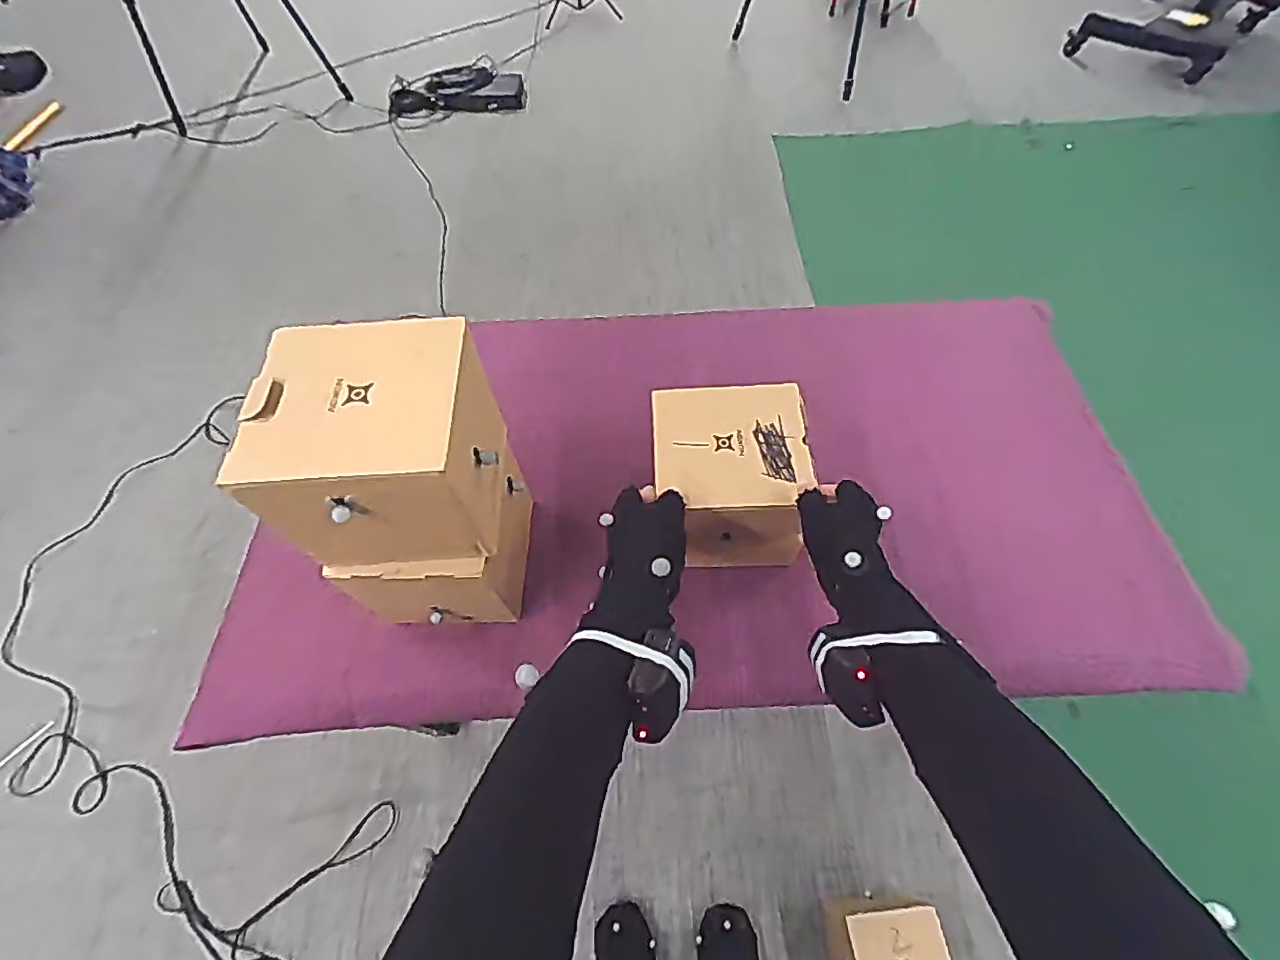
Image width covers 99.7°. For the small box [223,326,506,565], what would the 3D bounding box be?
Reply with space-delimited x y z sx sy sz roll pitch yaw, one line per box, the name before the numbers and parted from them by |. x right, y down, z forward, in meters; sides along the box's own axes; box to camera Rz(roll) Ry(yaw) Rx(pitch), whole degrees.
small box | -0.234 -0.026 0.520 0.179 0.176 0.168 -3 60 -1

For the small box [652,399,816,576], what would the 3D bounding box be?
small box | 0.104 0.015 0.679 0.179 0.176 0.168 -1 59 3

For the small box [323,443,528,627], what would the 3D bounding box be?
small box | -0.238 0.067 0.654 0.168 0.176 0.179 0 60 1
